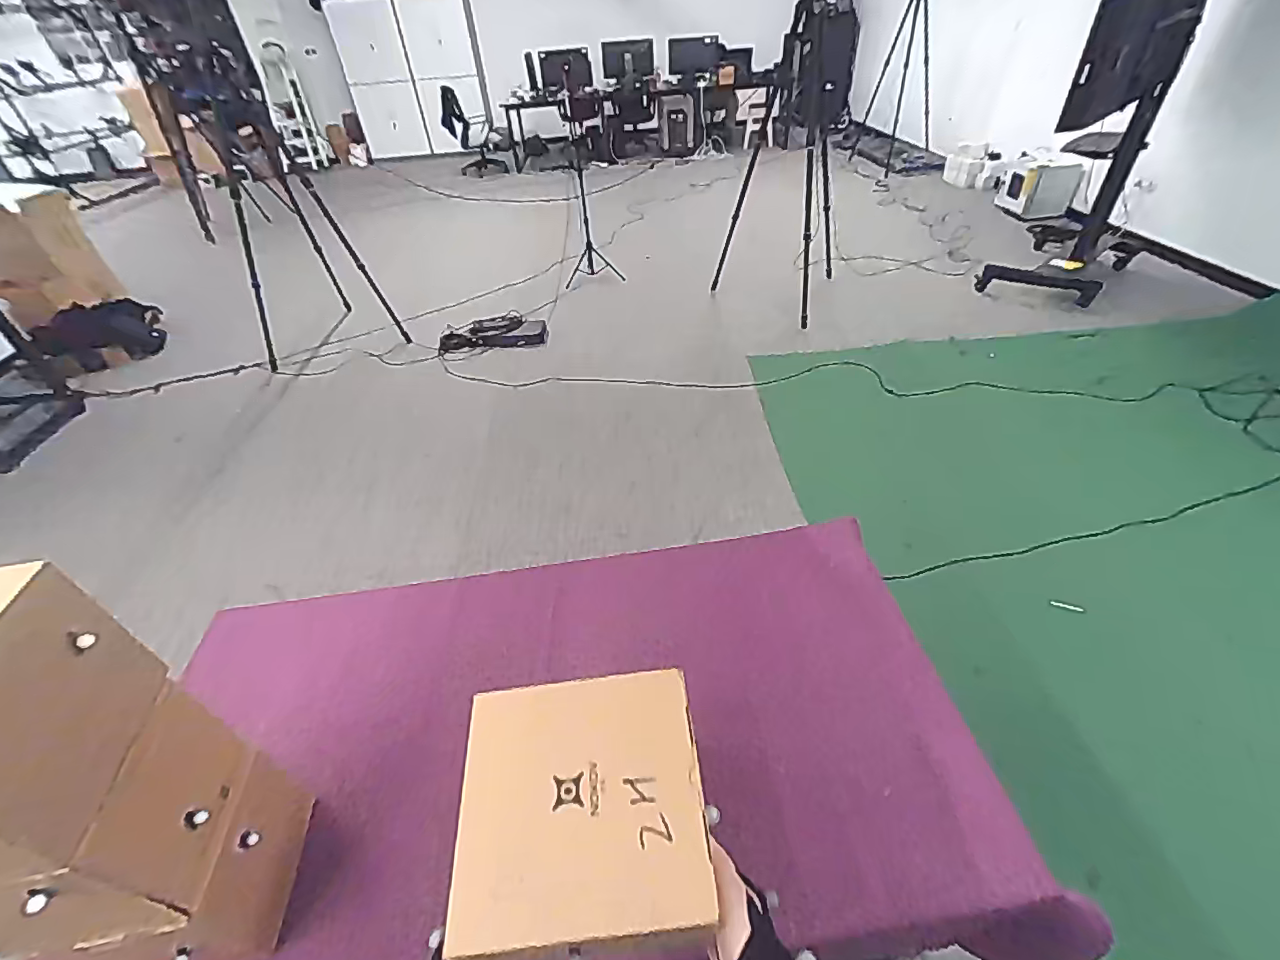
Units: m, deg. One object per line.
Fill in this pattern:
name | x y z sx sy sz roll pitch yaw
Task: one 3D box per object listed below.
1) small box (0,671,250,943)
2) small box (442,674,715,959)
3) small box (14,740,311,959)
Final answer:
small box | -0.535 0.317 0.526 0.179 0.176 0.168 -8 41 -7
small box | -0.037 0.282 0.447 0.179 0.176 0.168 -6 46 -1
small box | -0.522 0.438 0.632 0.168 0.176 0.179 -7 41 -5
